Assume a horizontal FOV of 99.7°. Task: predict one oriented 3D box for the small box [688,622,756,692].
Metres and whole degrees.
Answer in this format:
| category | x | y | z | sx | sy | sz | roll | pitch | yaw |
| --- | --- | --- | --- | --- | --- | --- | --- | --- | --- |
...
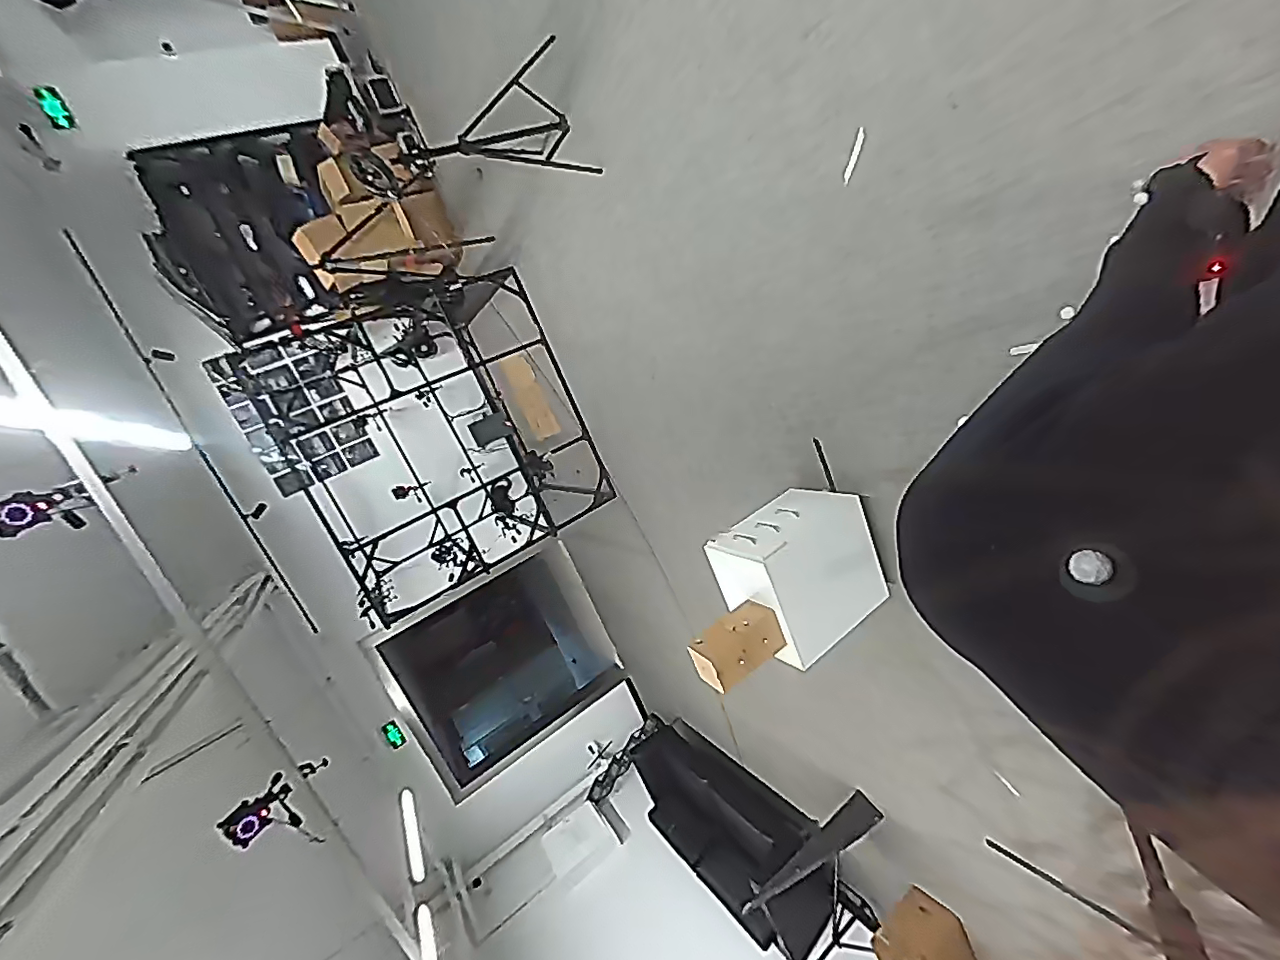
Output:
| category | x | y | z | sx | sy | sz | roll | pitch | yaw |
| --- | --- | --- | --- | --- | --- | --- | --- | --- | --- |
| small box | 0.323 | 0.682 | 2.113 | 0.179 | 0.176 | 0.168 | 12 | 128 | 61 |
